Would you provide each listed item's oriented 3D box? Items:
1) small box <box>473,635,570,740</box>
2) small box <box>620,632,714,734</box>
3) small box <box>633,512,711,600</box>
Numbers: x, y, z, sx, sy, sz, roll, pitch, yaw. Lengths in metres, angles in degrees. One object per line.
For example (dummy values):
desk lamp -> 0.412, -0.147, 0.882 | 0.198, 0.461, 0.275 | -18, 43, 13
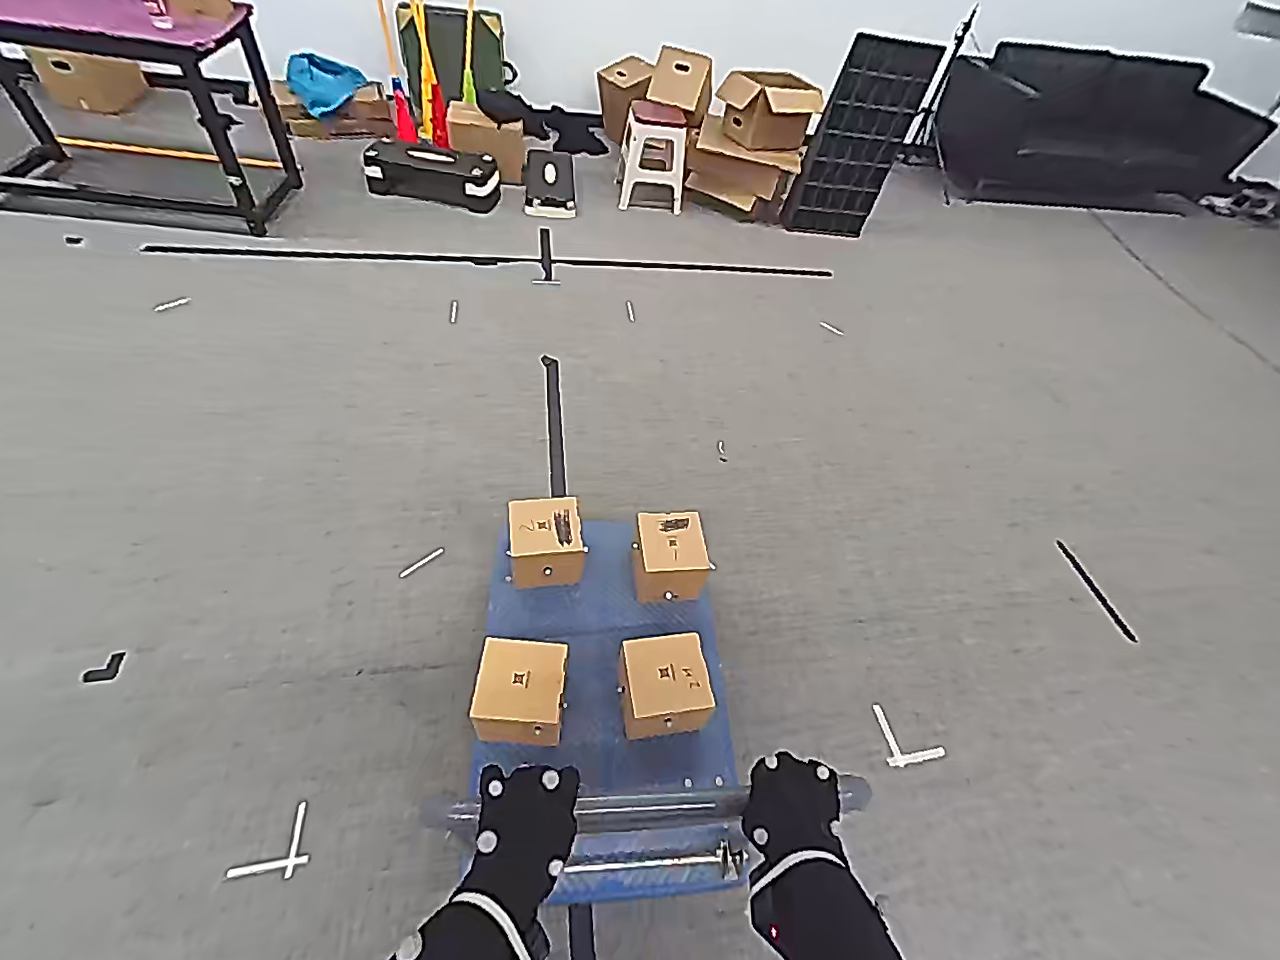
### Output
small box -> -0.252, 0.456, 1.180 | 0.179, 0.176, 0.168 | 7, 50, -5
small box -> 0.052, 0.461, 1.224 | 0.179, 0.176, 0.168 | -3, 52, -11
small box -> 0.077, 0.202, 1.439 | 0.168, 0.176, 0.179 | -1, 52, -10
